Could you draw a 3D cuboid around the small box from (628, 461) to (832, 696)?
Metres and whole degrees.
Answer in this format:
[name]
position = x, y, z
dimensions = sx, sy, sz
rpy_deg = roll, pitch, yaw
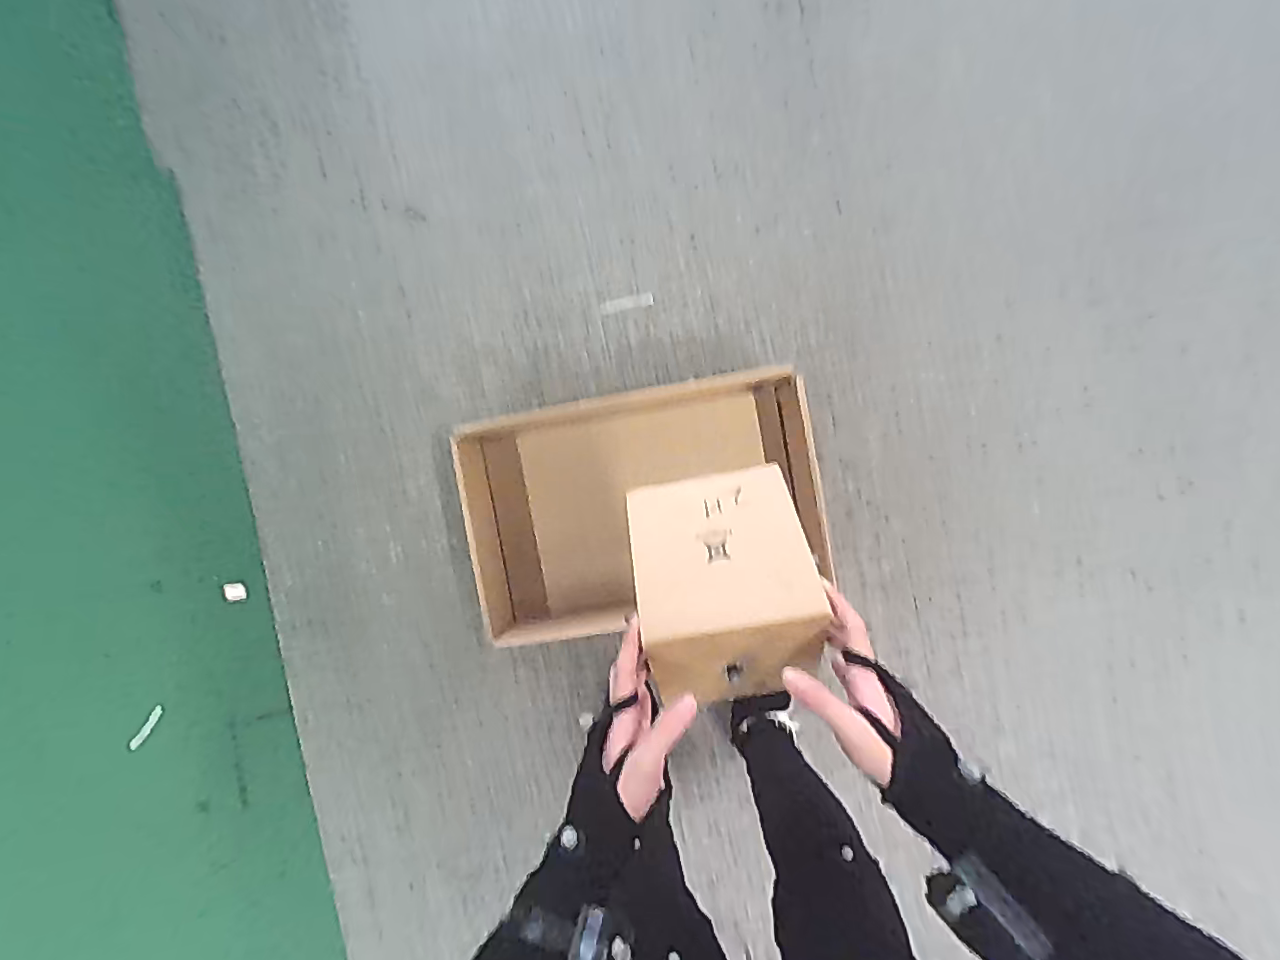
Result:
[small box]
position = 0.086, 0.110, 0.561
dimensions = 0.168, 0.176, 0.179
rpy_deg = -9, 48, 3
